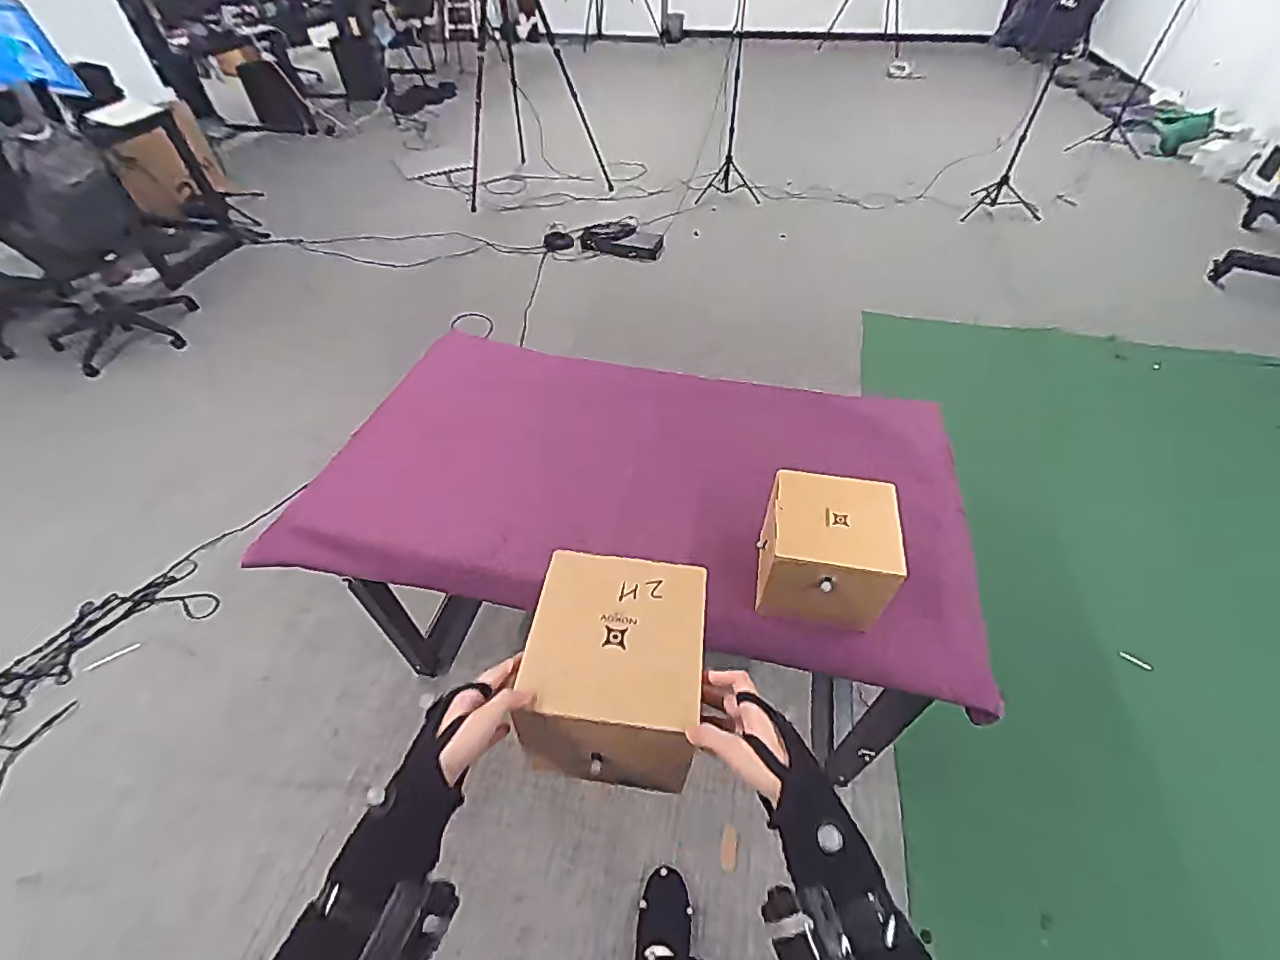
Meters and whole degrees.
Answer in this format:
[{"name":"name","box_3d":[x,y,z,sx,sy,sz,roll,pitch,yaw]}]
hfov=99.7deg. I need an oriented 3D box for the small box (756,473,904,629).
[{"name":"small box","box_3d":[0.284,0.114,0.838,0.179,0.176,0.168,7,49,9]}]
